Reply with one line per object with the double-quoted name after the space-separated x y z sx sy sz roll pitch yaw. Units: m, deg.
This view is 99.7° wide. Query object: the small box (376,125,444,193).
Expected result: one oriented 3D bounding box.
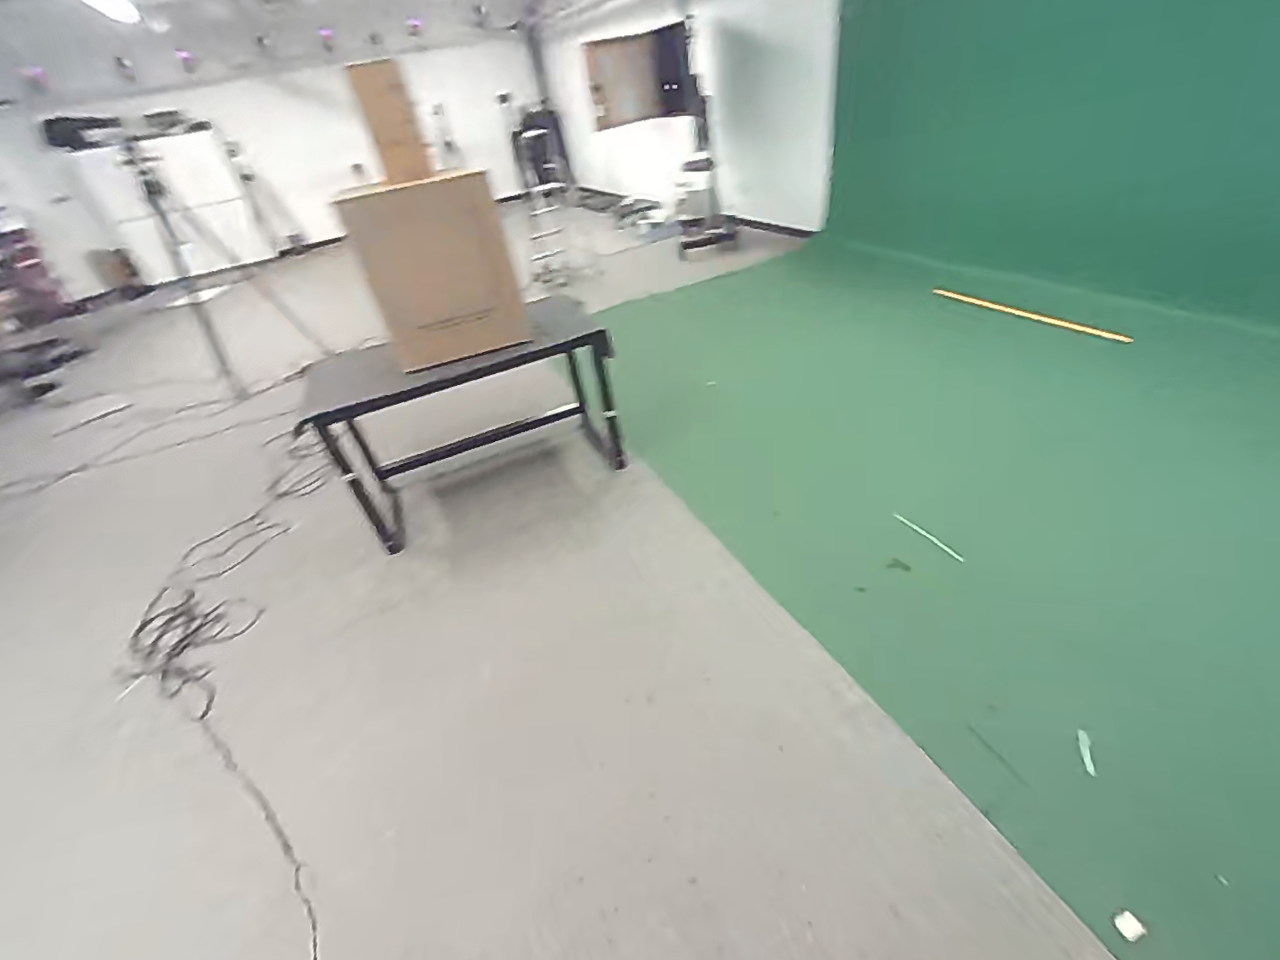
-0.791 -1.119 1.882 0.179 0.176 0.168 -17 39 -9 "small box"
